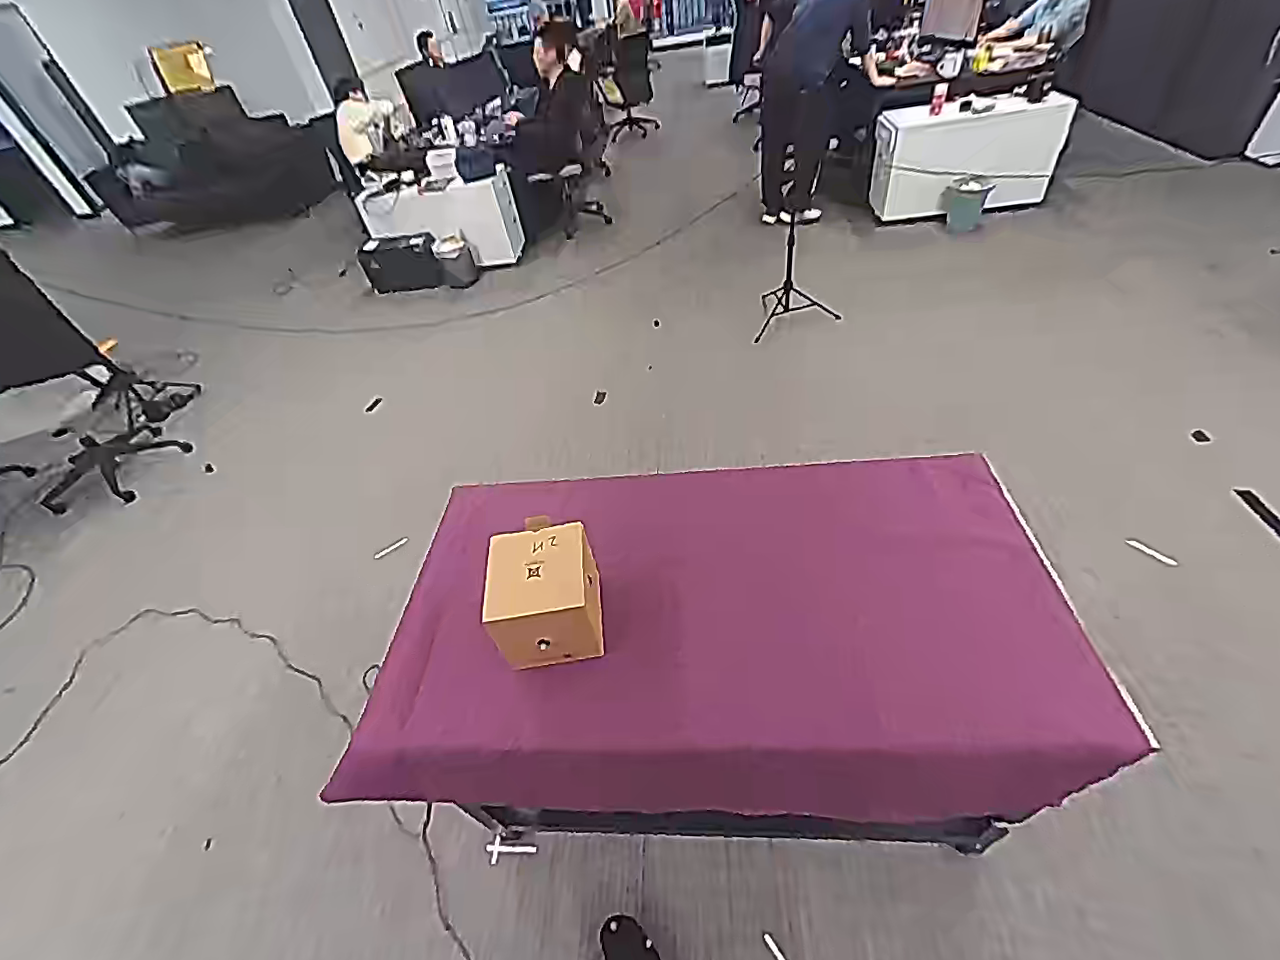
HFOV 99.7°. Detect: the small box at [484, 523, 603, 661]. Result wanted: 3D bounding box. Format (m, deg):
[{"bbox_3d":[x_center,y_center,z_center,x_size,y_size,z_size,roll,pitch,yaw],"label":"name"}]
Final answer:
[{"bbox_3d":[-0.161,0.204,0.957,0.168,0.176,0.179,-8,44,1],"label":"small box"}]
